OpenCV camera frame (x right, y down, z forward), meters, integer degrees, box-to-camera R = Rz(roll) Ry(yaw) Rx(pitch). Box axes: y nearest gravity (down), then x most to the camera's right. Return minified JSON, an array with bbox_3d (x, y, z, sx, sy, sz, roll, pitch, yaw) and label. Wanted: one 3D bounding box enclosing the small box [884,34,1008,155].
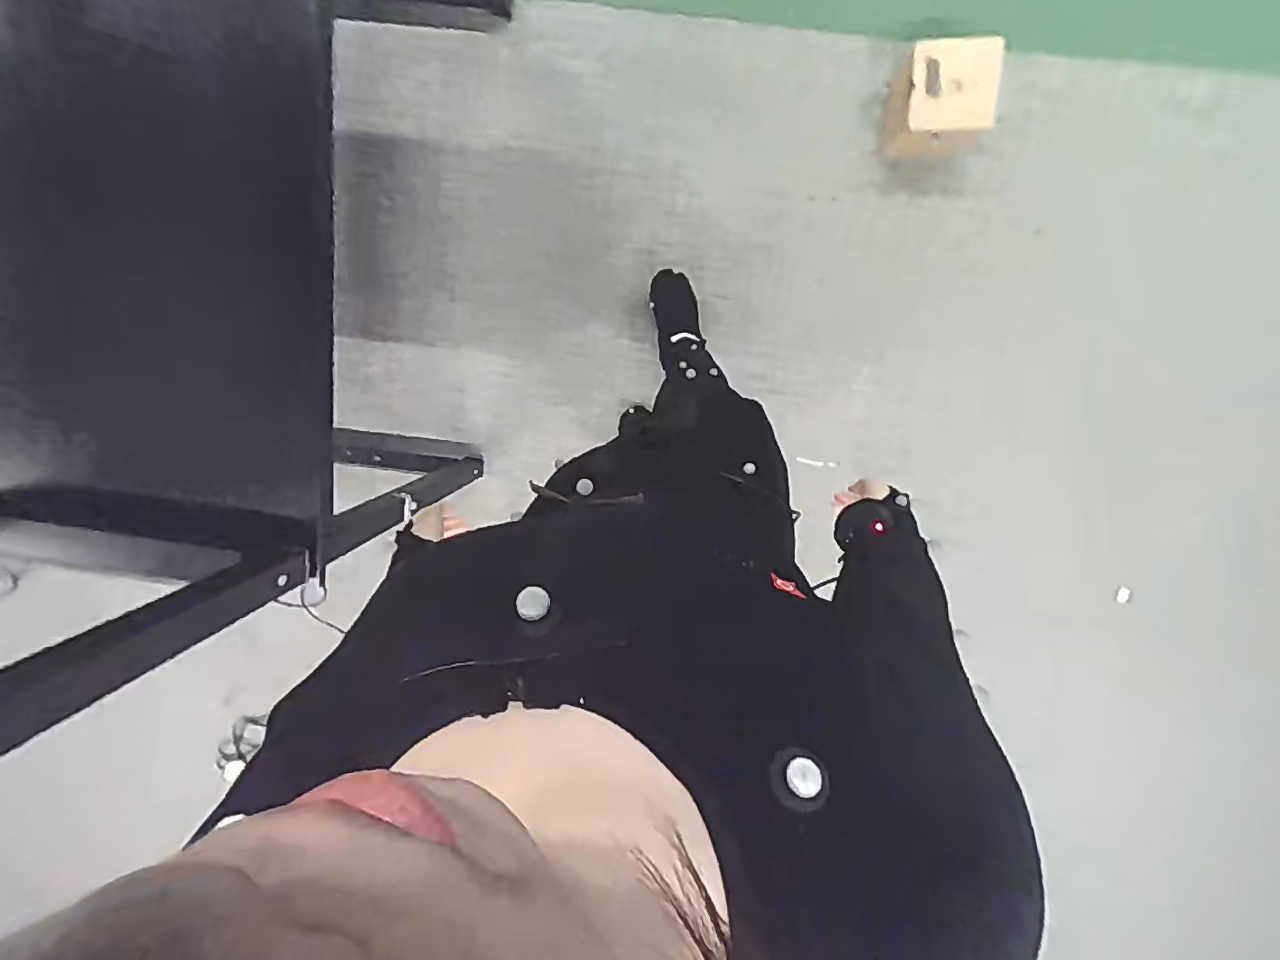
[{"bbox_3d":[0.649,-0.822,1.171,0.179,0.176,0.168,1,103,3],"label":"small box"}]
